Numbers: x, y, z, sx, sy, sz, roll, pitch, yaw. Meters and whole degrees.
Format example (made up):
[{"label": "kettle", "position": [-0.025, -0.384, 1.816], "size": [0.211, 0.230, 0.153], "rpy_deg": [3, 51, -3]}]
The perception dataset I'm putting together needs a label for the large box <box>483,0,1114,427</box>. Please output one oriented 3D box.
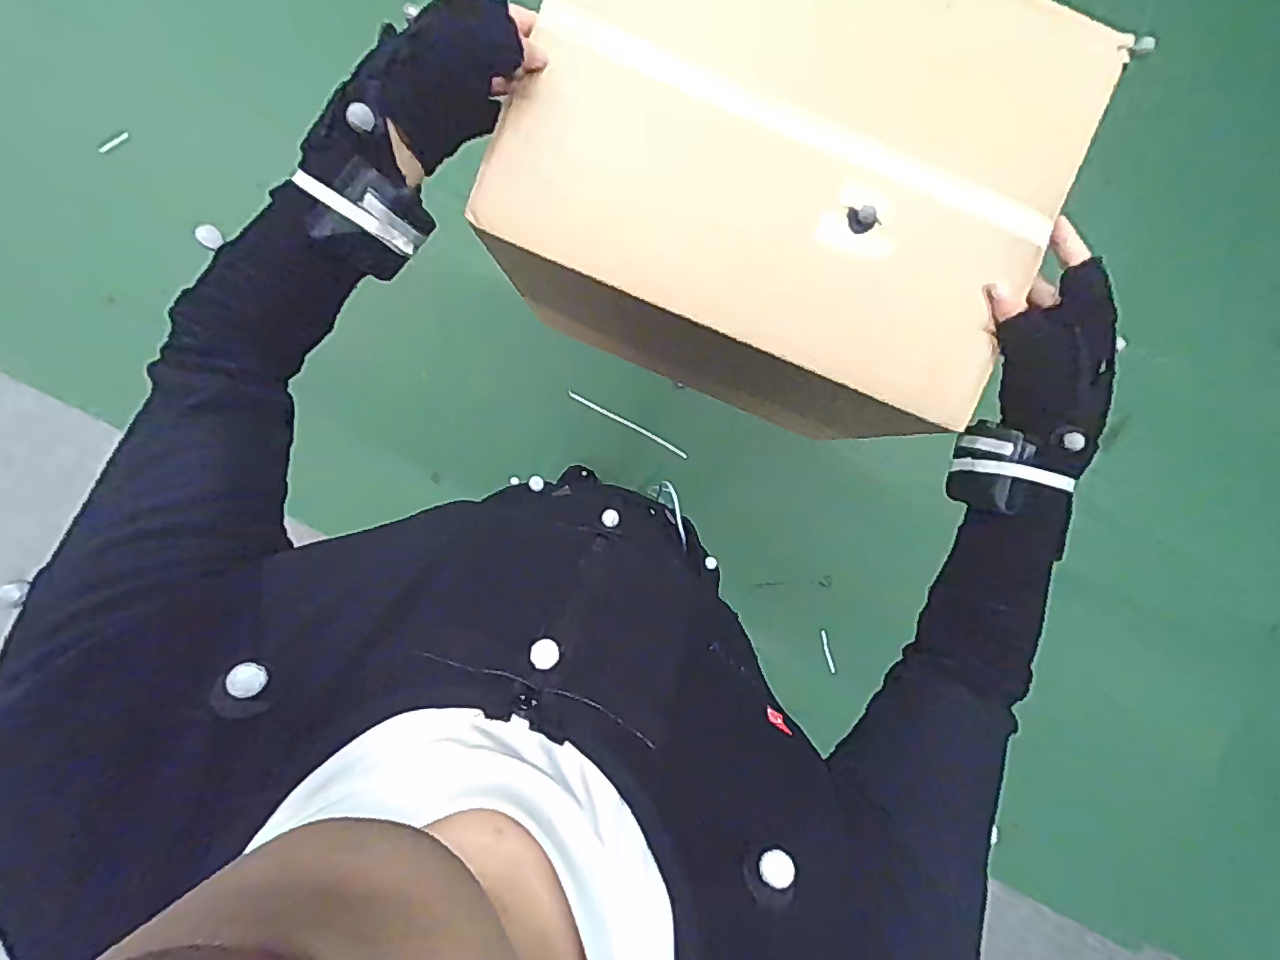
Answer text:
[{"label": "large box", "position": [0.114, -0.271, 0.553], "size": [0.408, 0.320, 0.320], "rpy_deg": [22, 94, -2]}]
